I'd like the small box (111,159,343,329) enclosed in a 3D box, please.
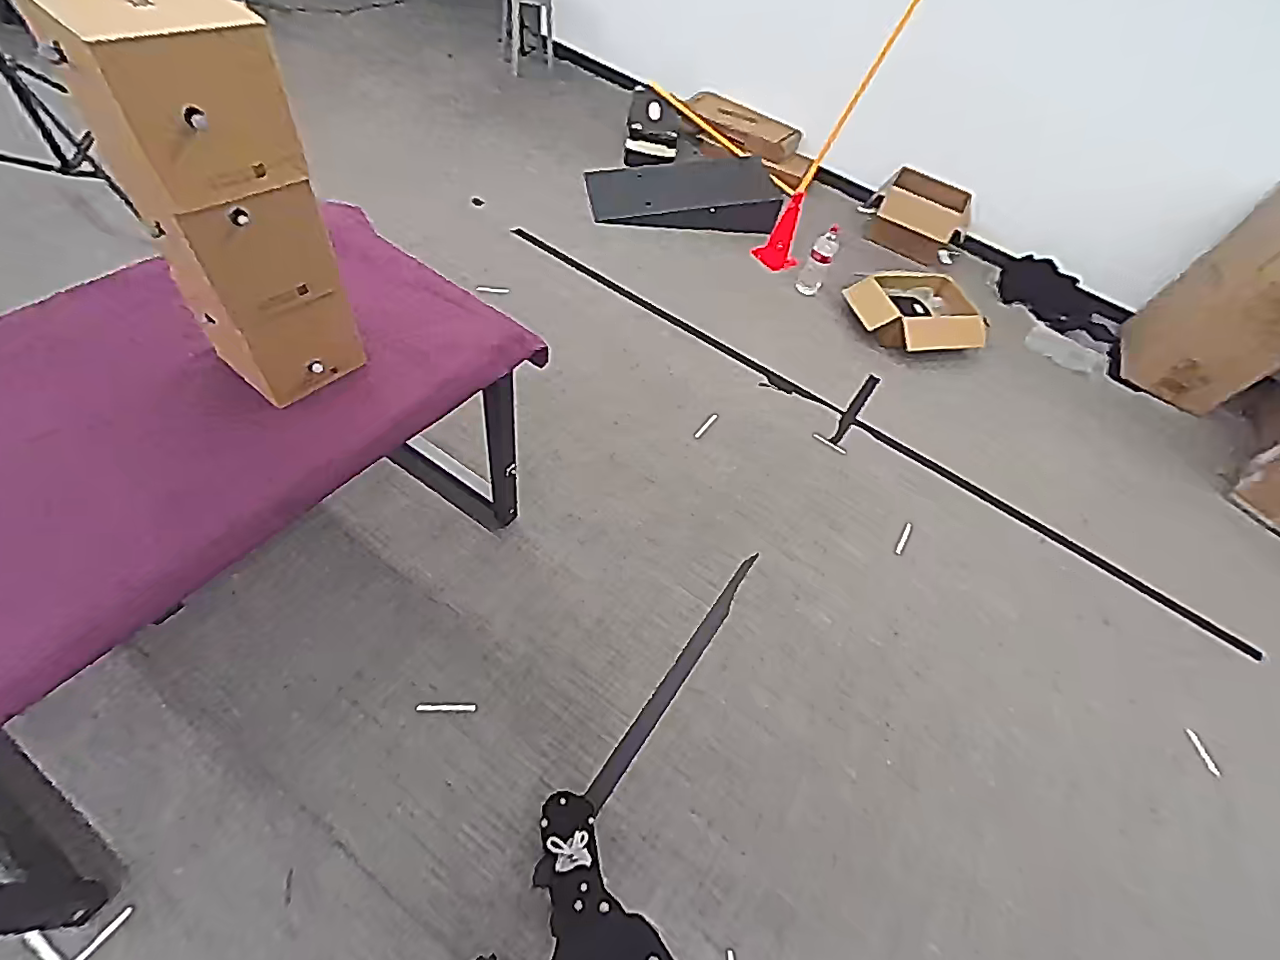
[{"bbox_3d":[-0.556,-0.343,0.753,0.179,0.176,0.168,37,56,17],"label":"small box"}]

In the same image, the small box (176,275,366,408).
[{"bbox_3d":[-0.587,-0.251,0.884,0.179,0.176,0.168,36,56,14],"label":"small box"}]

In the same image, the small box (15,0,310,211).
[{"bbox_3d":[-0.523,-0.435,0.621,0.179,0.176,0.168,37,56,16],"label":"small box"}]
